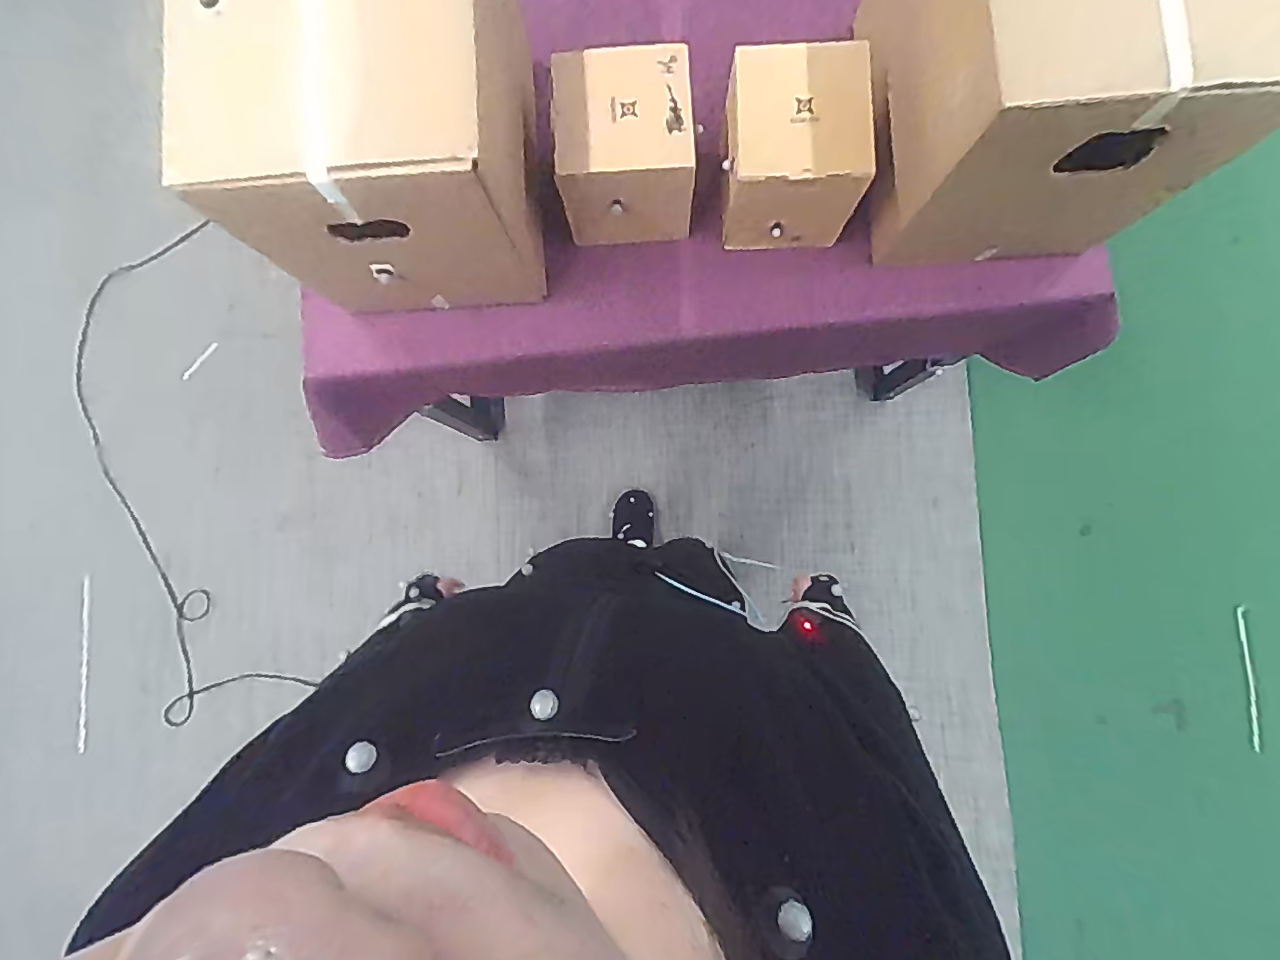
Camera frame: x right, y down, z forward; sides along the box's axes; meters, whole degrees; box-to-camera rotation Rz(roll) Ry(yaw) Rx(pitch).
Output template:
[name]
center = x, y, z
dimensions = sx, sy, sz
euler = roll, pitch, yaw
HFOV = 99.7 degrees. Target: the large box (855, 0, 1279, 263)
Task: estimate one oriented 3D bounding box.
[large box]
center = 0.491, -0.537, 0.676
dimensions = 0.320, 0.320, 0.408
euler = -2, 86, 1
